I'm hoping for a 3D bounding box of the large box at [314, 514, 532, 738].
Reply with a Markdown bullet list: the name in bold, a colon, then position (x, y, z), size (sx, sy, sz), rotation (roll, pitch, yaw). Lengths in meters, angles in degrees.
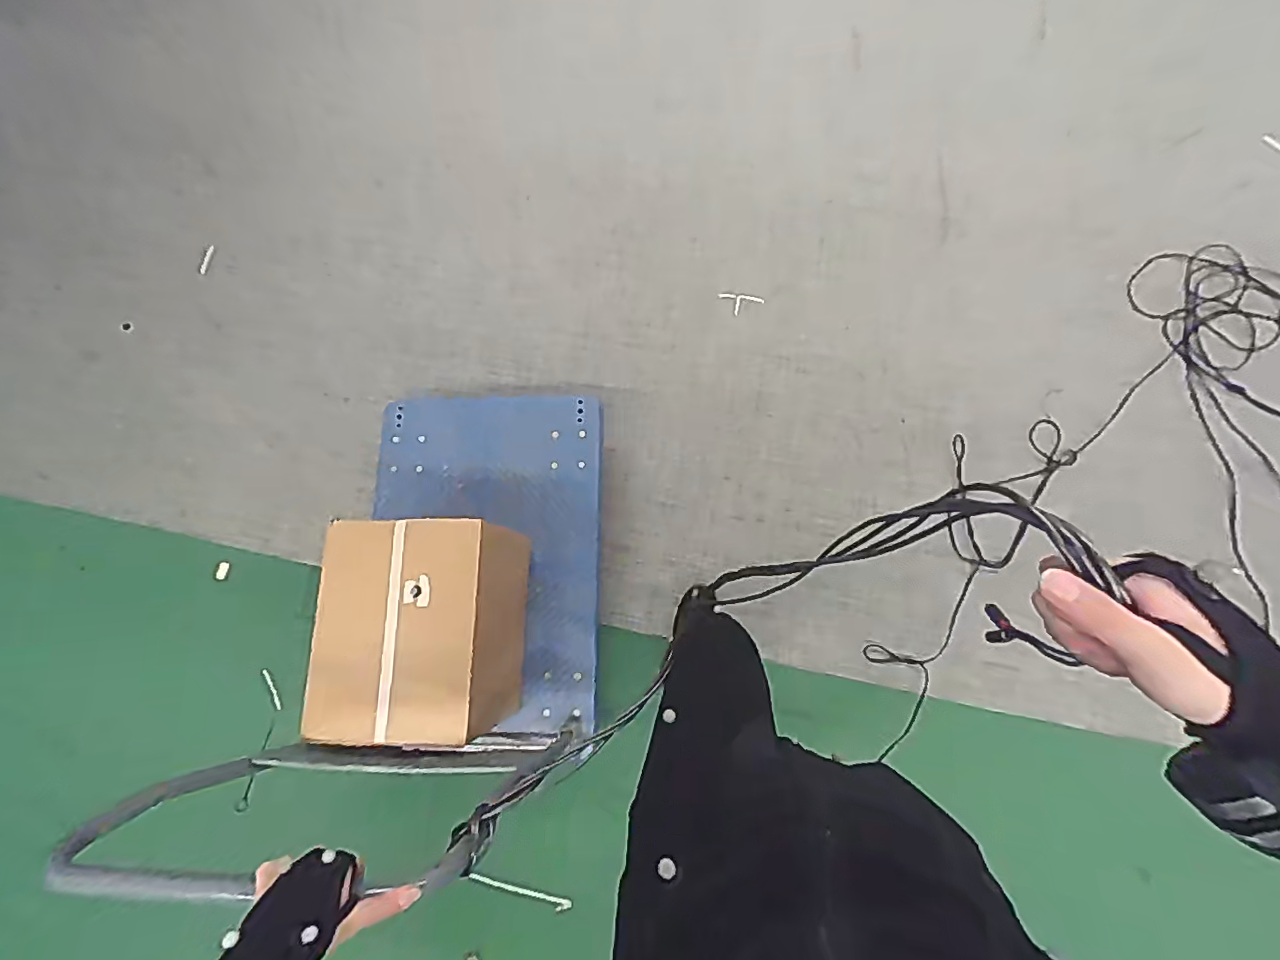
- **large box**: position (-0.425, 0.299, 1.147), size (0.320, 0.320, 0.408), rotation (-1, 77, 5)
